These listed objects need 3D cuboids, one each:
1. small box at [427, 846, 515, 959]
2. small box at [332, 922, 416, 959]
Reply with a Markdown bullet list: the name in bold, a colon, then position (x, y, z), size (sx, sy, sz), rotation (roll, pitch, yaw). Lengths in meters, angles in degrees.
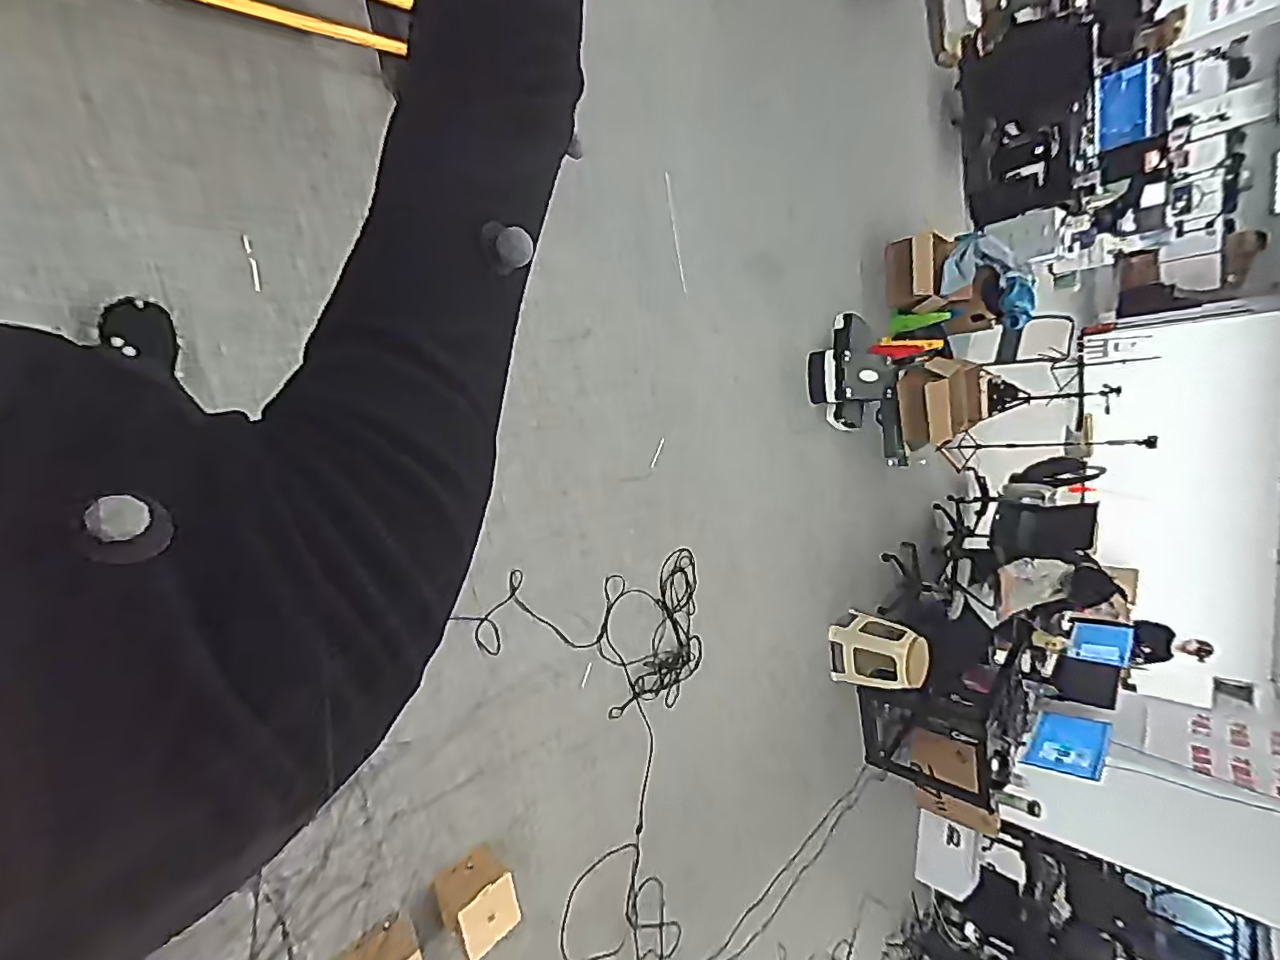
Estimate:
- **small box**: position (-0.484, 1.208, 1.548), size (0.168, 0.176, 0.179), rotation (-19, 104, -43)
- **small box**: position (-0.667, 1.277, 1.367), size (0.168, 0.176, 0.179), rotation (-20, 105, -42)
